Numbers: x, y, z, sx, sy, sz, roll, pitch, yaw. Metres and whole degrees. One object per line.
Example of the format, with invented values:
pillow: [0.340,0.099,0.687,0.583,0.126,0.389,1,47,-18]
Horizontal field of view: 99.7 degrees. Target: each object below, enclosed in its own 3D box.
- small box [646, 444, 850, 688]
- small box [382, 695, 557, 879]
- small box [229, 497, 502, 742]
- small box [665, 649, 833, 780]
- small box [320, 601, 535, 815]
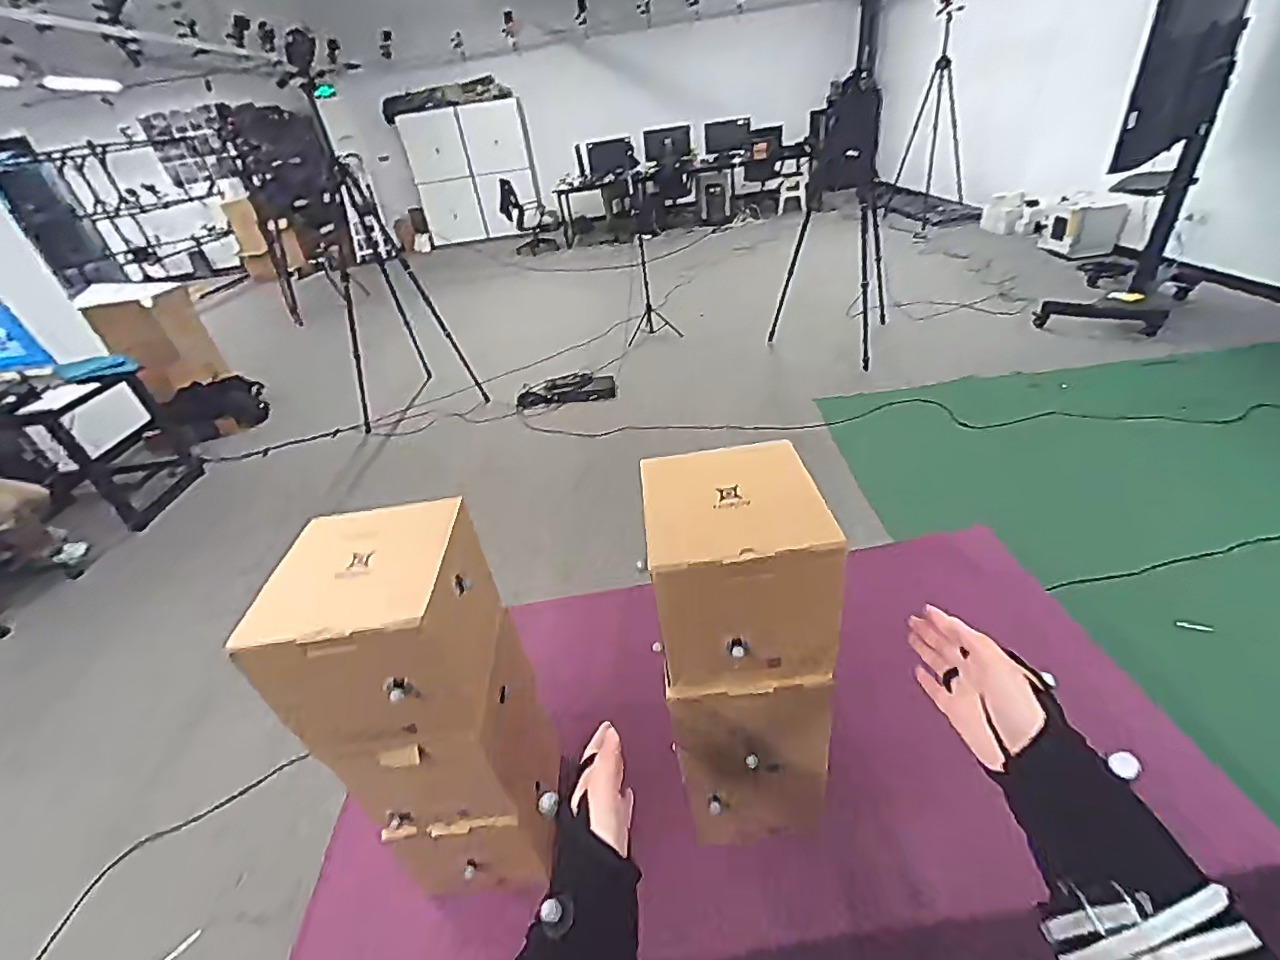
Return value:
small box: [0.097,0.084,0.558,0.168,0.176,0.179,-7,35,2]
small box: [-0.213,0.412,0.733,0.168,0.176,0.179,-6,36,1]
small box: [-0.249,0.143,0.550,0.168,0.176,0.179,-7,34,0]
small box: [0.116,0.224,0.641,0.168,0.176,0.179,-6,35,4]
small box: [-0.231,0.273,0.645,0.168,0.176,0.179,-7,34,3]
